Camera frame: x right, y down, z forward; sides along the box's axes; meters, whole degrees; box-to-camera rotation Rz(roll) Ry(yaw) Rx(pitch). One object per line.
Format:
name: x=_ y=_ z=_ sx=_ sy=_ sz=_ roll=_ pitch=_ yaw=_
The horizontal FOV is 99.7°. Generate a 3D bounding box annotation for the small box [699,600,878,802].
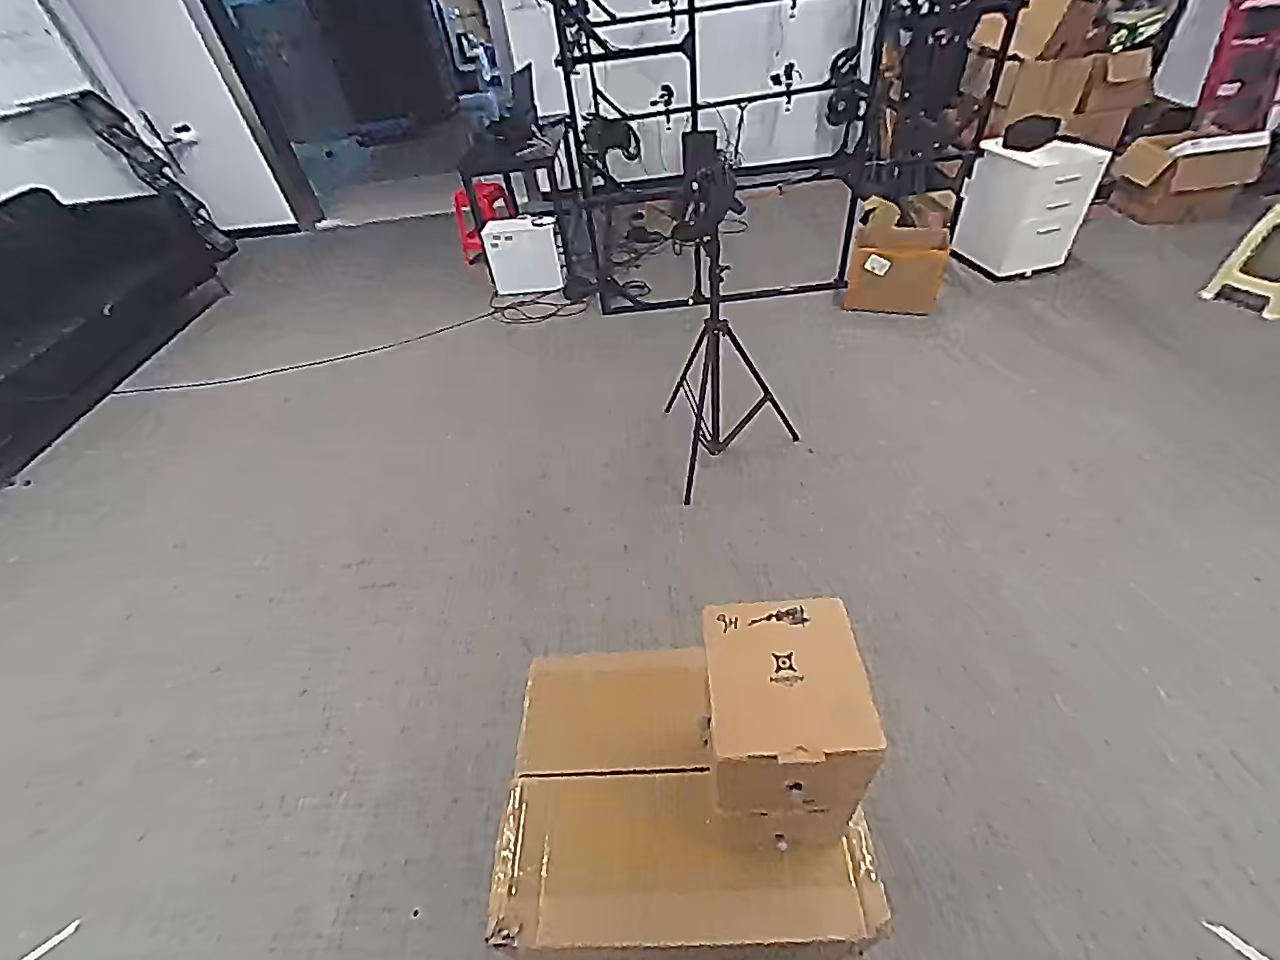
small box: x=0.161 y=0.265 z=0.638 sx=0.168 sy=0.176 sz=0.179 roll=-5 pitch=44 yaw=5

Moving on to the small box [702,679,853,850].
small box: x=0.176 y=0.386 z=0.748 sx=0.168 sy=0.176 sz=0.179 roll=-6 pitch=44 yaw=4
